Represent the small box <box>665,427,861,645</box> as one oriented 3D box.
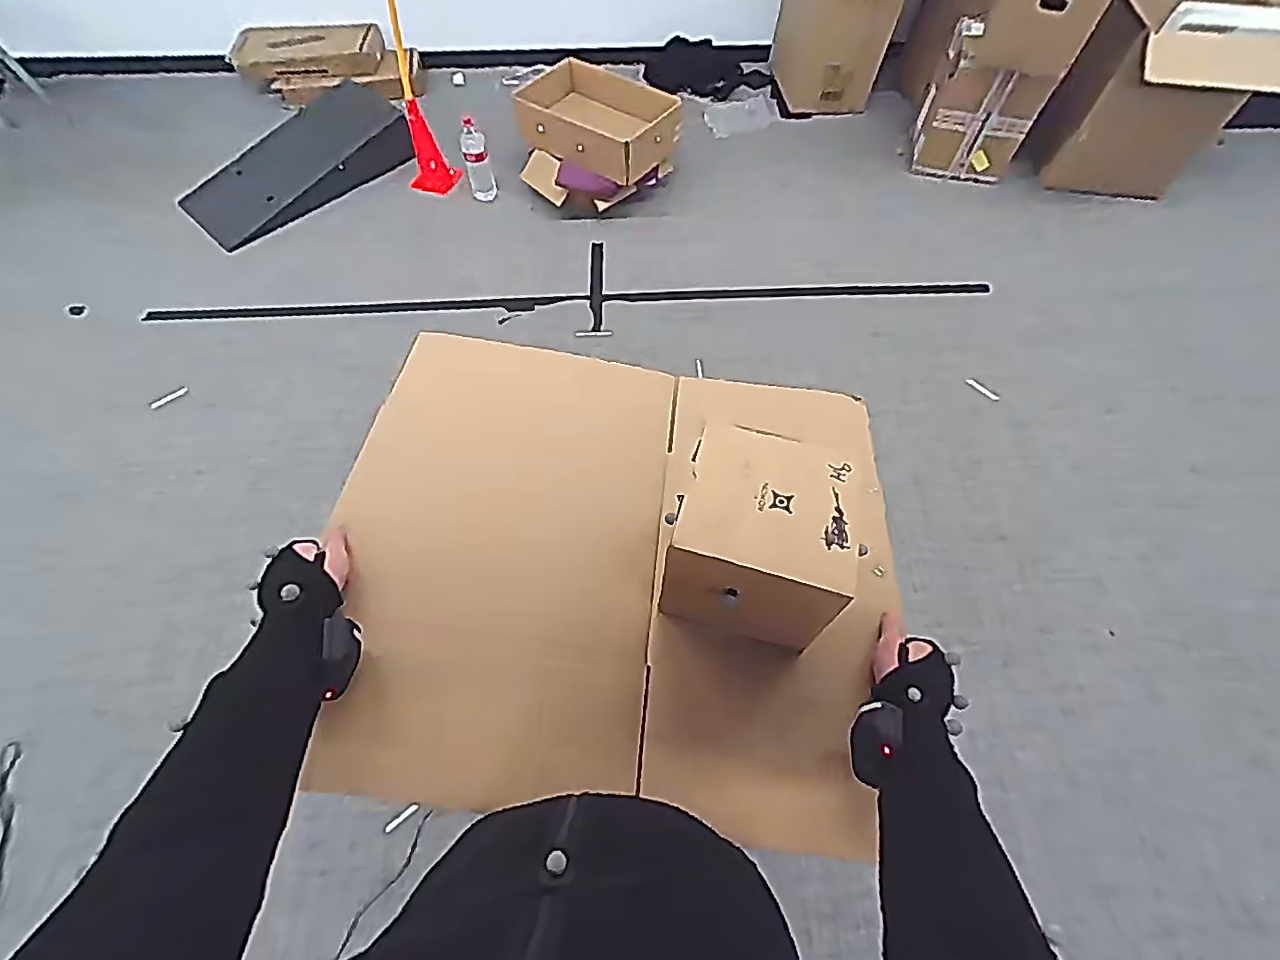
[{"bbox_3d":[0.130,0.069,0.614,0.179,0.176,0.168,14,57,8],"label":"small box"}]
